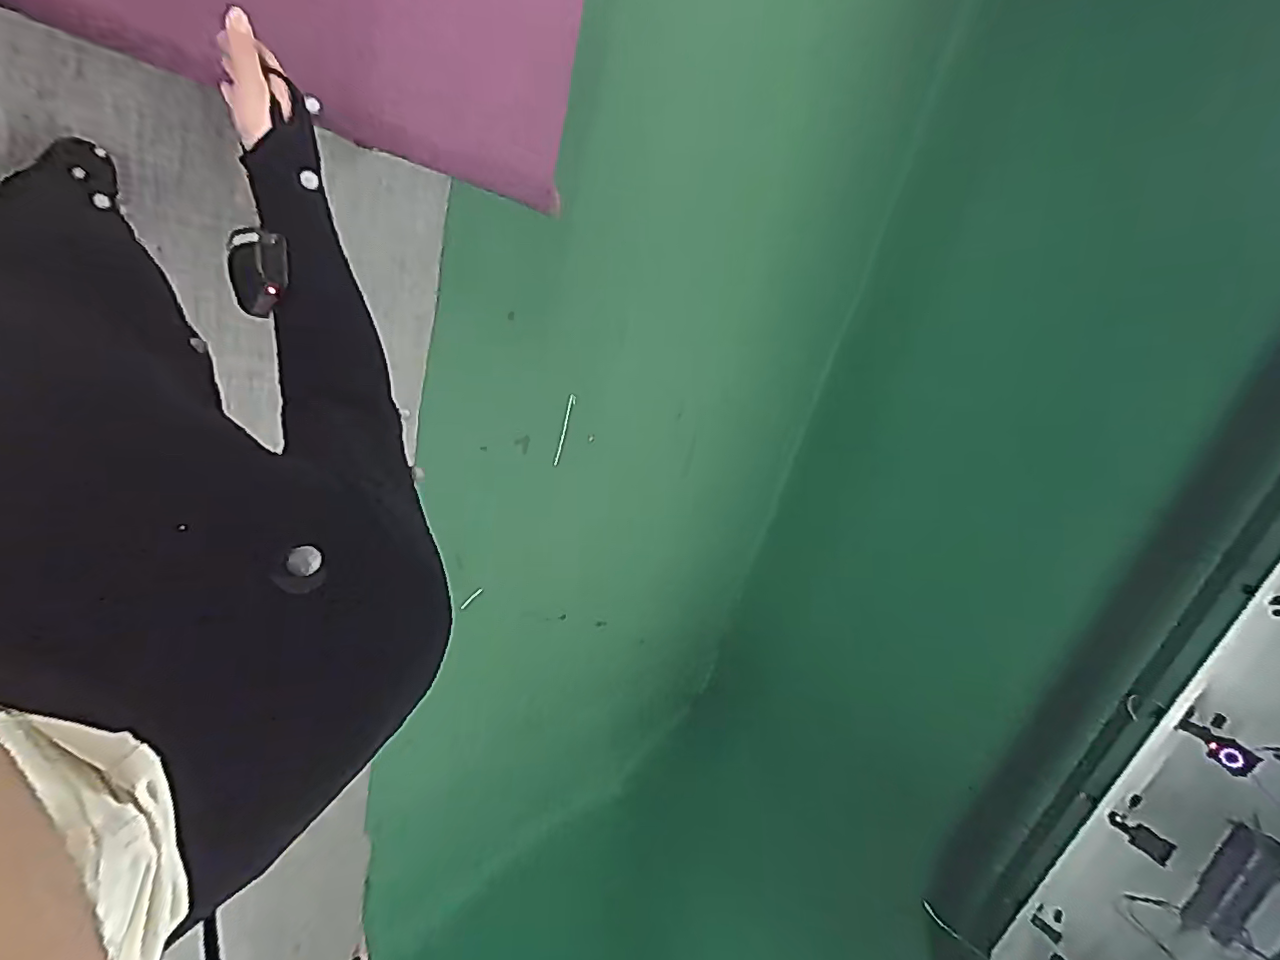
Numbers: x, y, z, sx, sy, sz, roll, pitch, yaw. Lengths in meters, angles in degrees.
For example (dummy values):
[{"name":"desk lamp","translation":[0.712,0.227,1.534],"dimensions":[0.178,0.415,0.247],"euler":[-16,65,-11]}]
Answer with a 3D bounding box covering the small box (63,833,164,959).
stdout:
[{"name":"small box","translation":[-1.342,1.060,1.379],"dimensions":[0.168,0.176,0.179],"euler":[-6,120,-51]}]
